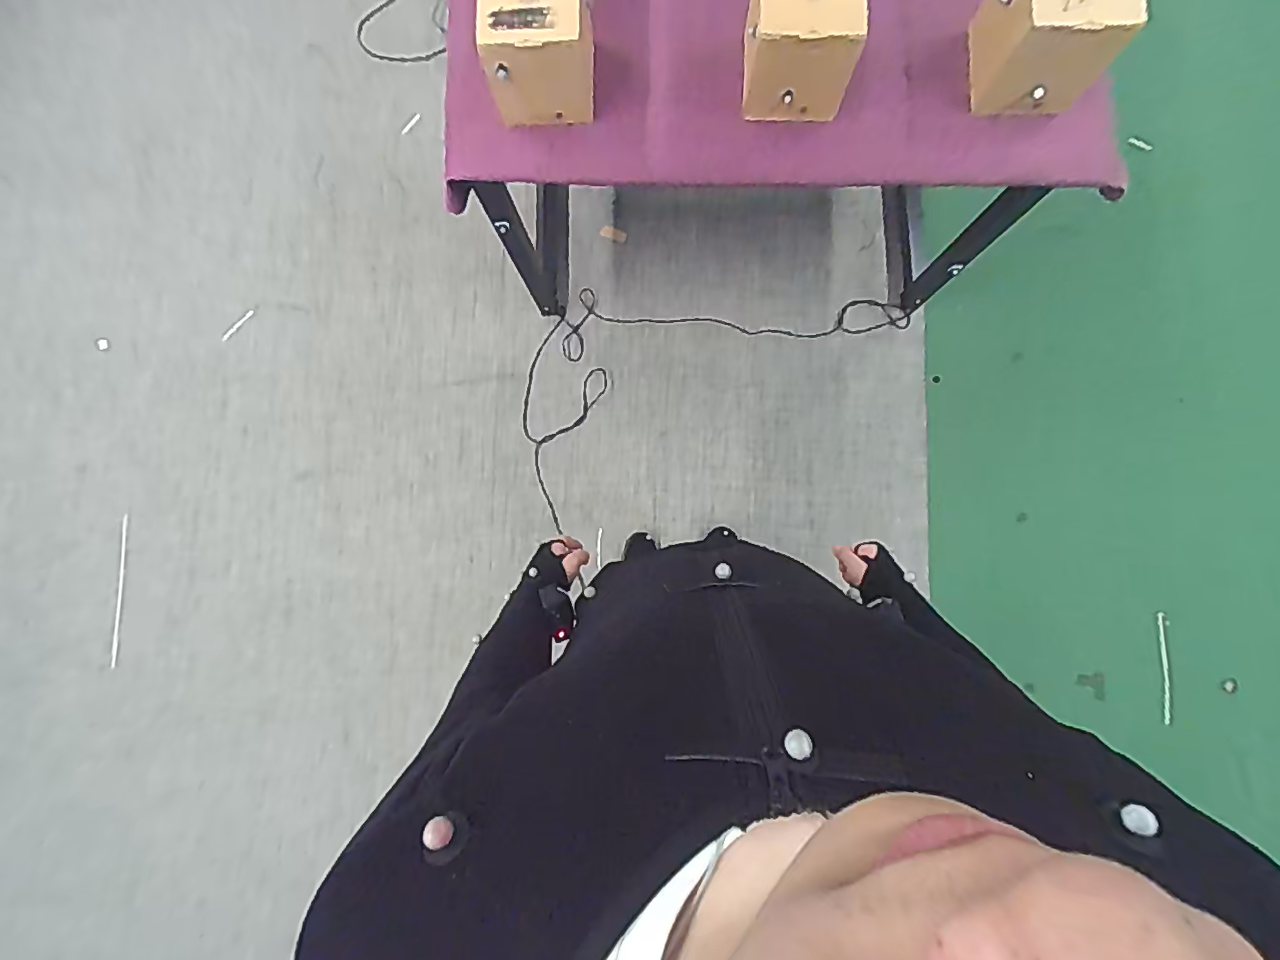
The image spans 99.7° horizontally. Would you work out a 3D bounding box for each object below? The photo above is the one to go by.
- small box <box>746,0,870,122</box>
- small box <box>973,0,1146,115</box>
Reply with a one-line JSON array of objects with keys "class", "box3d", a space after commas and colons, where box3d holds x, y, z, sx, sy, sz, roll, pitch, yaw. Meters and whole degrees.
[{"class": "small box", "box3d": [0.275, -0.753, 0.917, 0.168, 0.176, 0.179, 2, 84, 2]}, {"class": "small box", "box3d": [0.679, -0.750, 0.896, 0.168, 0.176, 0.179, 3, 84, 4]}]
